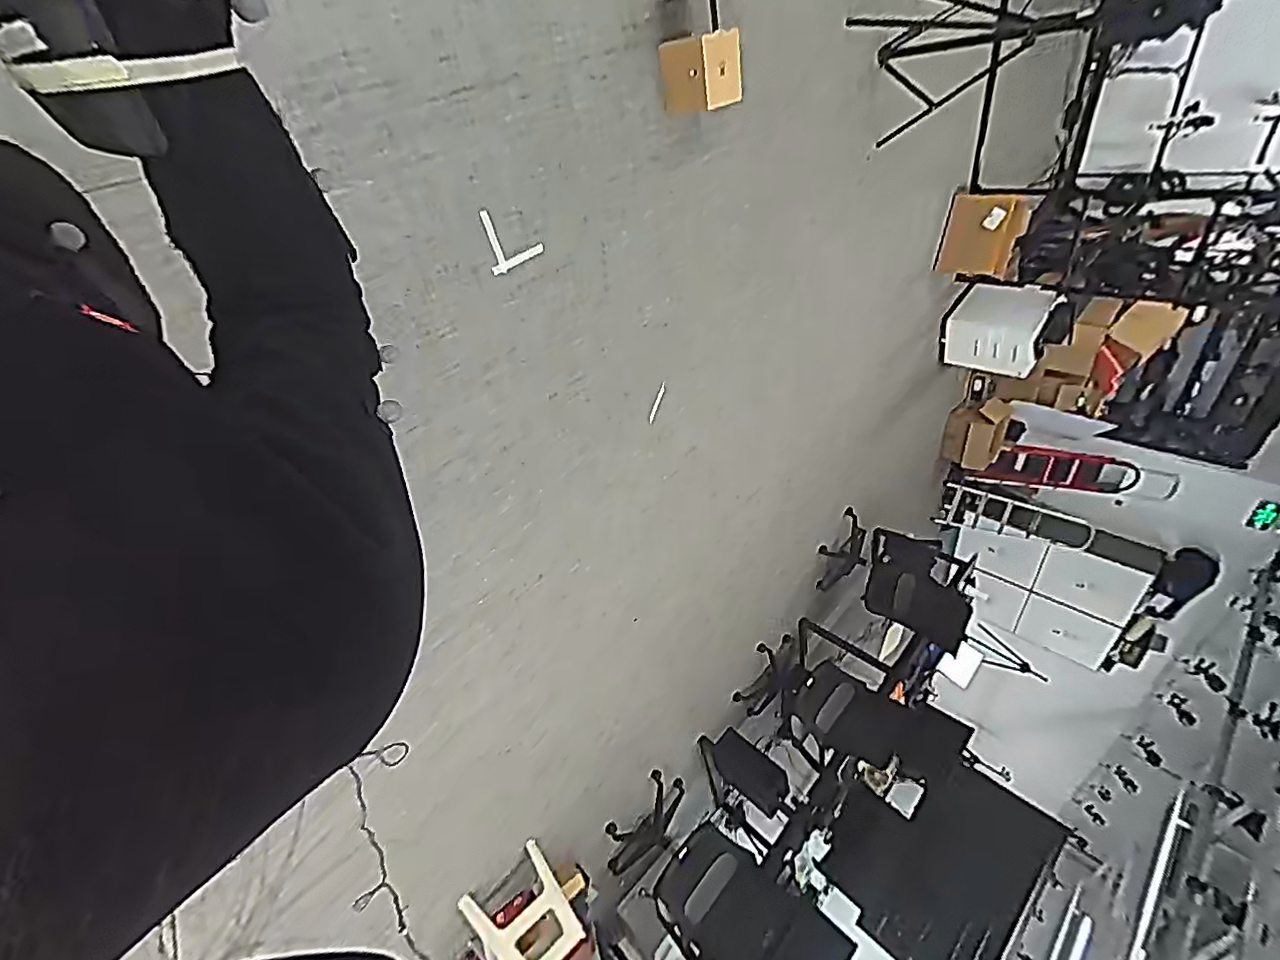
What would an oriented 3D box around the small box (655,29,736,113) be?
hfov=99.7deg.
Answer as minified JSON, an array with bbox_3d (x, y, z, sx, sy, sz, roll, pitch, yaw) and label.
[{"bbox_3d":[0.167,-1.217,1.619,0.168,0.176,0.179,-37,133,-29],"label":"small box"}]
